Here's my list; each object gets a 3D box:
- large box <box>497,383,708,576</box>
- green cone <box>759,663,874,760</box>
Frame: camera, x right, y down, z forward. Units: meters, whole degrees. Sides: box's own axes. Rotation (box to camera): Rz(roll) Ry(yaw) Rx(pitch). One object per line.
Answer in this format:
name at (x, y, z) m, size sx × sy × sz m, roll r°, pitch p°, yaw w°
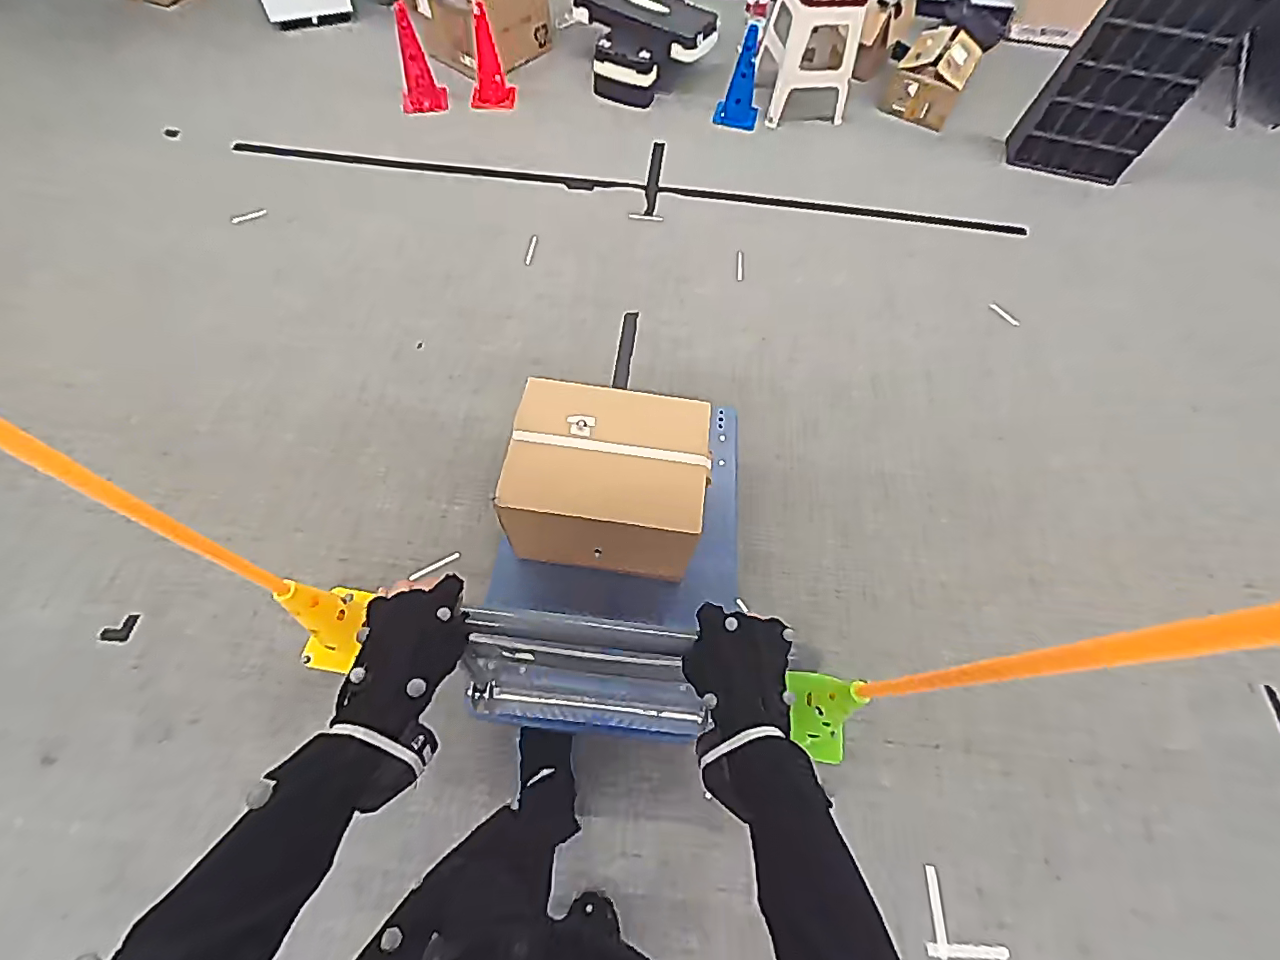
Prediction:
large box at (-0.069, 0.012, 1.250) m, size 0.408 × 0.320 × 0.320 m, roll 9°, pitch 63°, yaw 2°
green cone at (0.410, 0.489, 1.188) m, size 0.202 × 0.368 × 0.200 m, roll 11°, pitch 62°, yaw 1°
